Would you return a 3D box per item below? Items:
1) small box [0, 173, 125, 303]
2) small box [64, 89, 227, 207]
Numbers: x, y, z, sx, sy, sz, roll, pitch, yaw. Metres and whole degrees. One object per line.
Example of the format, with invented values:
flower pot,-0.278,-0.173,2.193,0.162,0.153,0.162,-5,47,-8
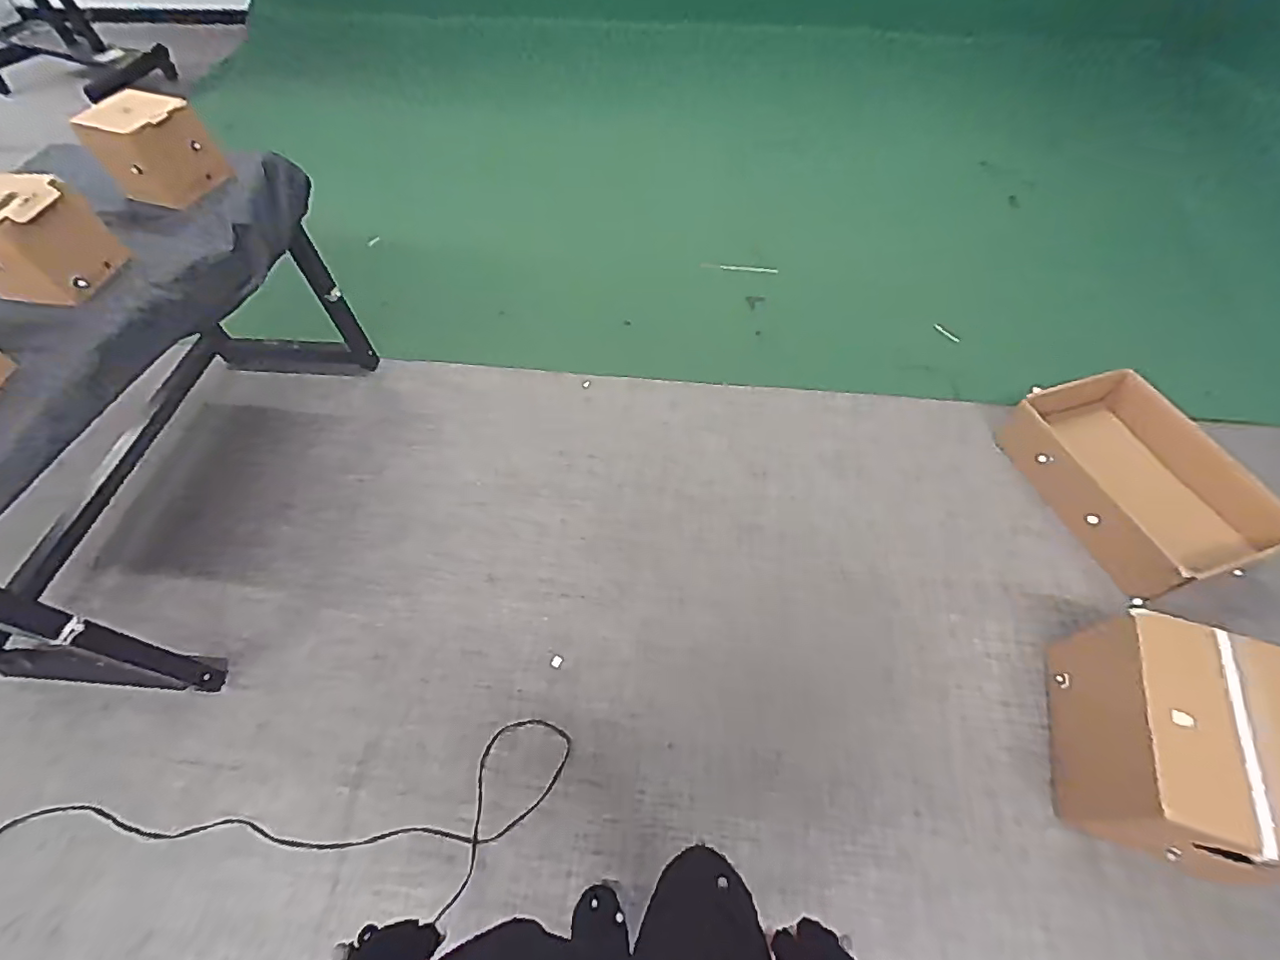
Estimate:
small box,-1.180,-0.464,1.047,0.179,0.176,0.168,5,58,6
small box,-1.108,-0.750,1.230,0.179,0.176,0.168,15,58,12
